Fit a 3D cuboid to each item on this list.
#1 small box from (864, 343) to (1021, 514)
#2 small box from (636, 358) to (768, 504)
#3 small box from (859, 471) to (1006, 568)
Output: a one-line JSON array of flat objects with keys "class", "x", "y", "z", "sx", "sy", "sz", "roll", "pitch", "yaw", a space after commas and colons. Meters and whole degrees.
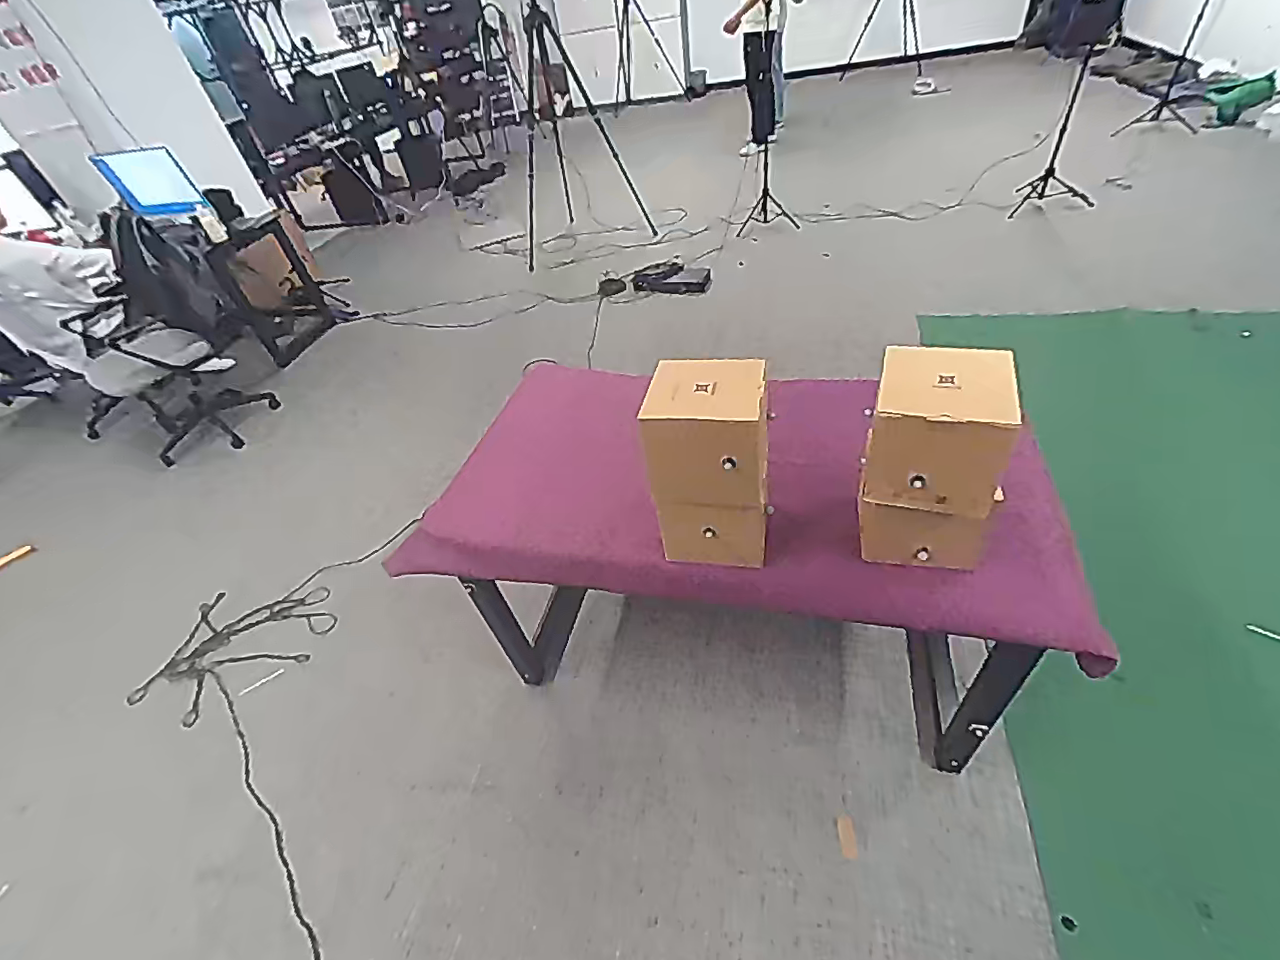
[{"class": "small box", "x": 0.428, "y": -0.078, "z": 0.786, "sx": 0.168, "sy": 0.176, "sz": 0.179, "roll": 8, "pitch": 46, "yaw": 23}, {"class": "small box", "x": 0.109, "y": -0.078, "z": 0.861, "sx": 0.179, "sy": 0.176, "sz": 0.168, "roll": 3, "pitch": 42, "yaw": 17}, {"class": "small box", "x": 0.472, "y": 0.029, "z": 0.903, "sx": 0.179, "sy": 0.176, "sz": 0.168, "roll": 3, "pitch": 43, "yaw": 16}]
